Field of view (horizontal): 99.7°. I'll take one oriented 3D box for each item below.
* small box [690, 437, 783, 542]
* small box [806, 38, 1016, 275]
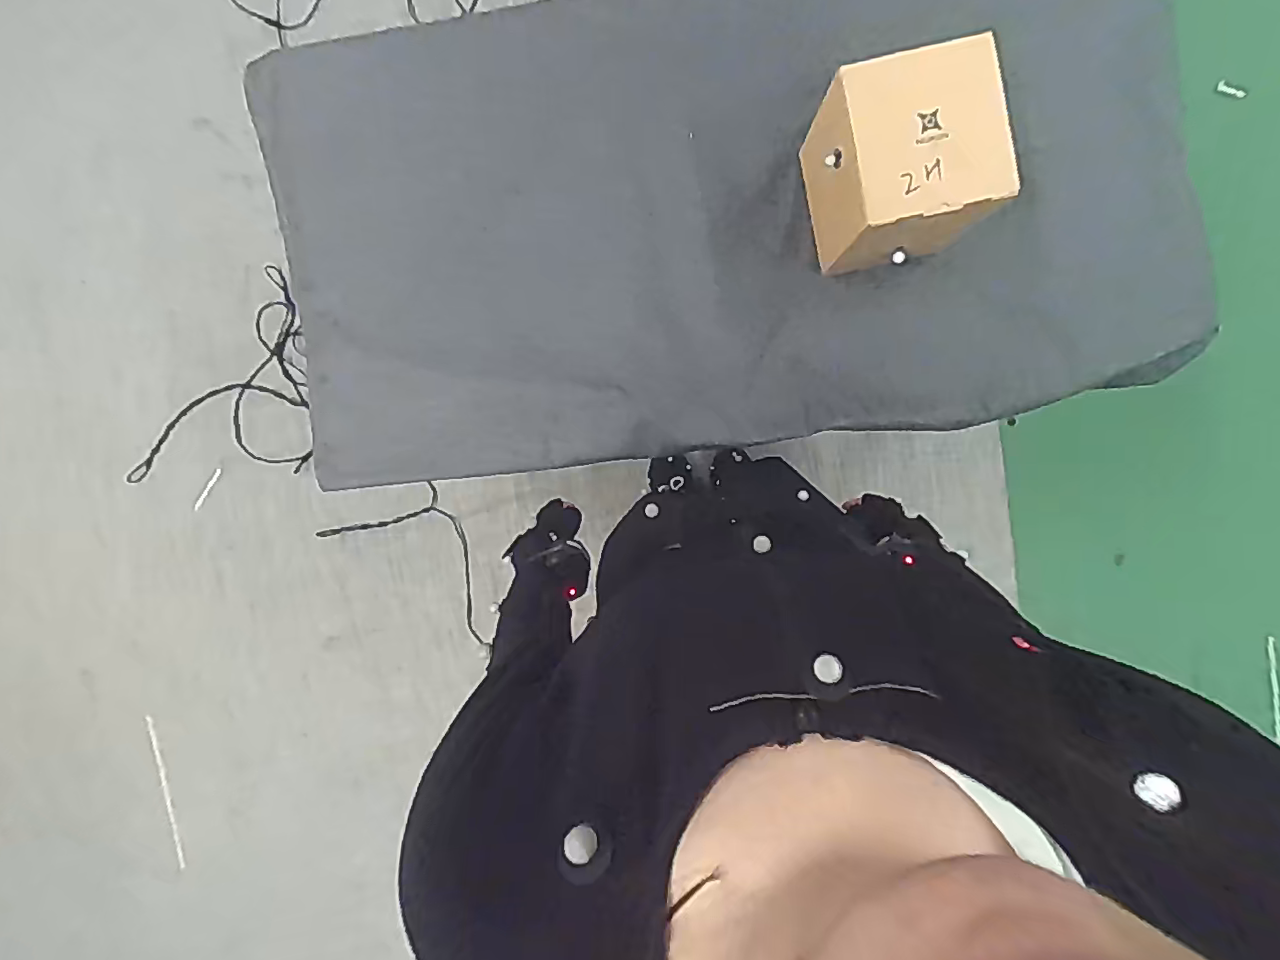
[{"bbox_3d":[0.244,0.027,1.411,0.179,0.176,0.168,-41,61,-21],"label":"small box"},{"bbox_3d":[0.316,-0.379,0.665,0.168,0.176,0.179,-11,92,3],"label":"small box"}]
